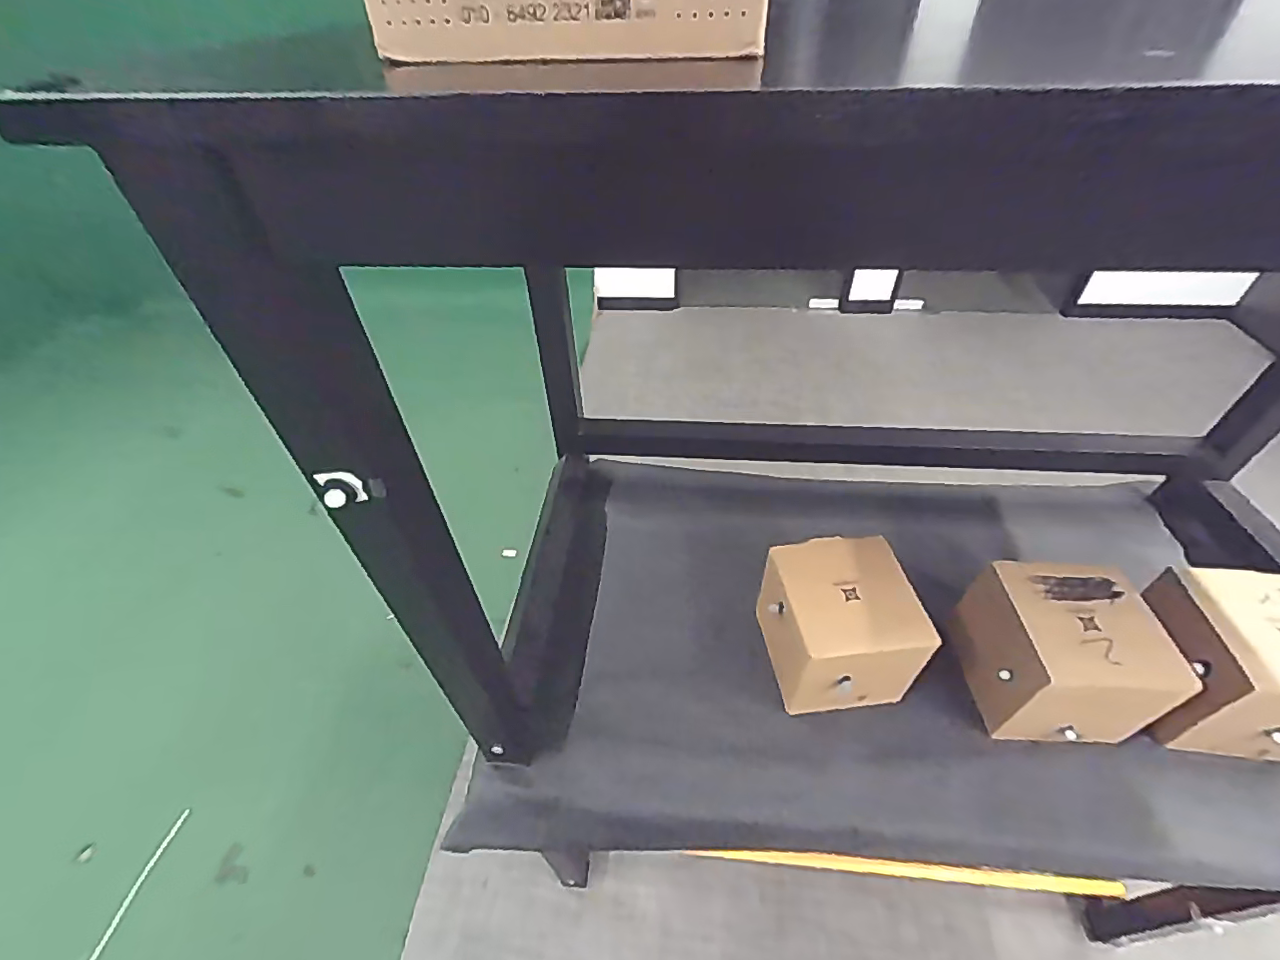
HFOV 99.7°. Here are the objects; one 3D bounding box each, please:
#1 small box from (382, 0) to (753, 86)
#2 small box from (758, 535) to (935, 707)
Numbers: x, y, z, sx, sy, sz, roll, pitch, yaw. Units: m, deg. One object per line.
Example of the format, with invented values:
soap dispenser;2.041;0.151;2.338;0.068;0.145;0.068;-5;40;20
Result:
small box;-0.028;-0.292;0.239;0.168;0.176;0.179;3;45;5
small box;0.274;0.204;0.765;0.168;0.176;0.179;-5;44;-3
